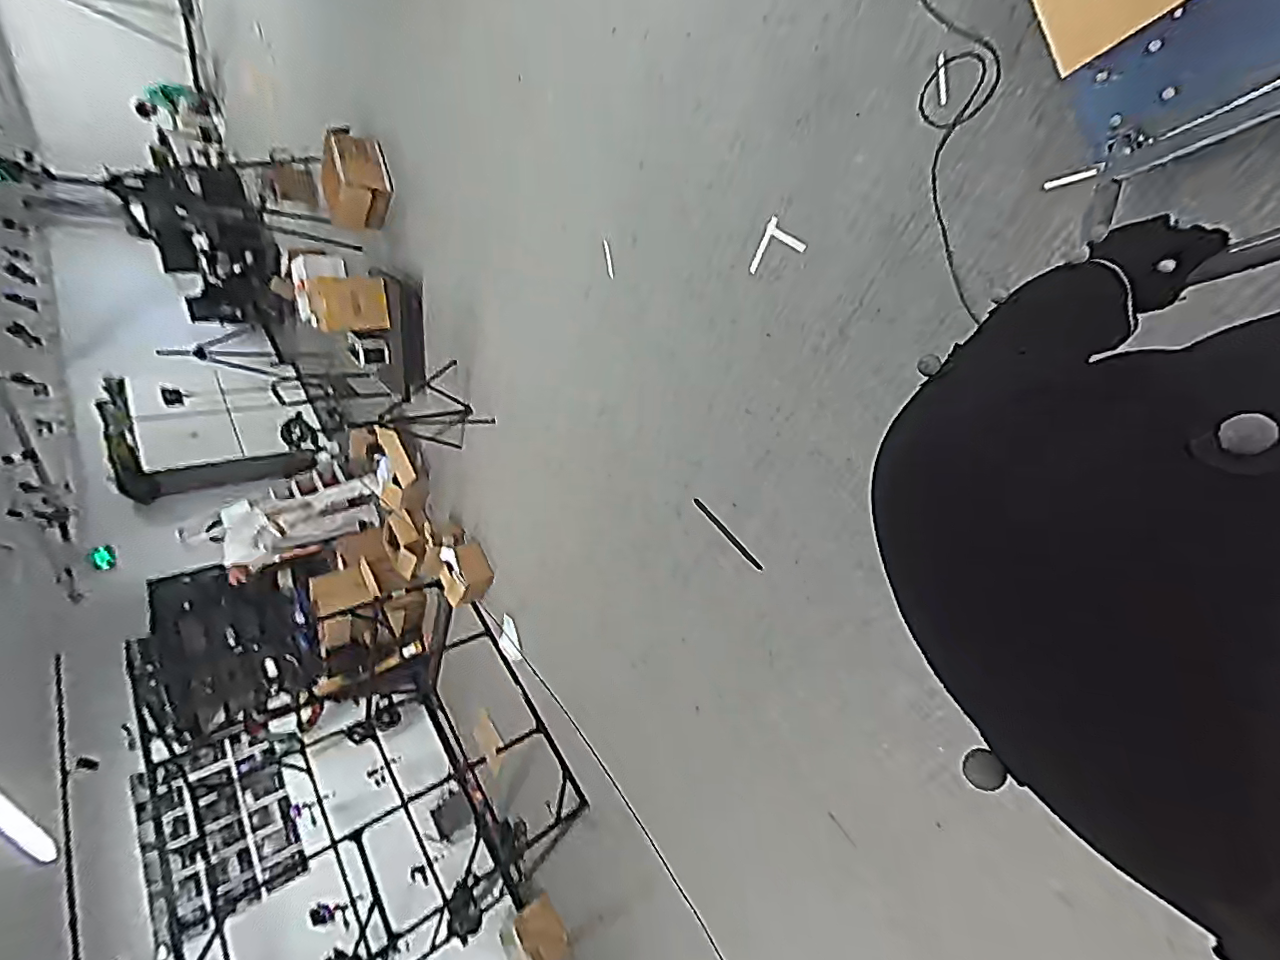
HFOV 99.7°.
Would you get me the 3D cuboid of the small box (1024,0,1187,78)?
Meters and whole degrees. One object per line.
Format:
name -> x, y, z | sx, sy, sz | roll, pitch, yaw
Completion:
small box -> 0.729, -0.768, 0.837 | 0.179, 0.176, 0.168 | -19, 107, 50
